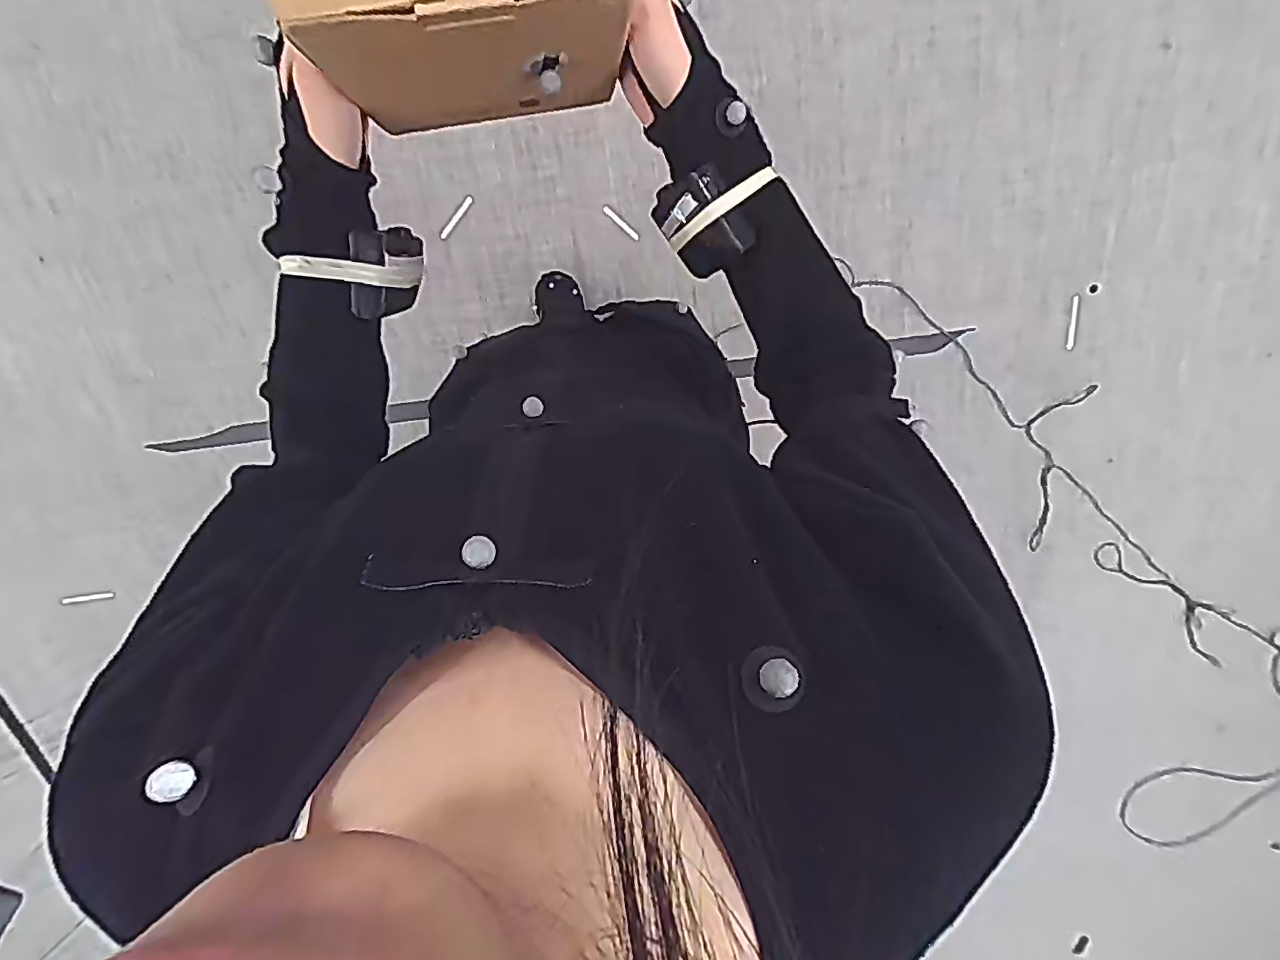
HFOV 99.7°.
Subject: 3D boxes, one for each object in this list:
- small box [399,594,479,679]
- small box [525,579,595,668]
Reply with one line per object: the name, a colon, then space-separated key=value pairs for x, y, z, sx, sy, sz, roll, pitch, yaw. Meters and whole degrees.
small box: x=-0.580 y=0.450 z=1.574 sx=0.179 sy=0.176 sz=0.168 roll=7 pitch=108 yaw=-6
small box: x=-0.226 y=0.414 z=1.575 sx=0.168 sy=0.176 sz=0.179 roll=-9 pitch=108 yaw=0
